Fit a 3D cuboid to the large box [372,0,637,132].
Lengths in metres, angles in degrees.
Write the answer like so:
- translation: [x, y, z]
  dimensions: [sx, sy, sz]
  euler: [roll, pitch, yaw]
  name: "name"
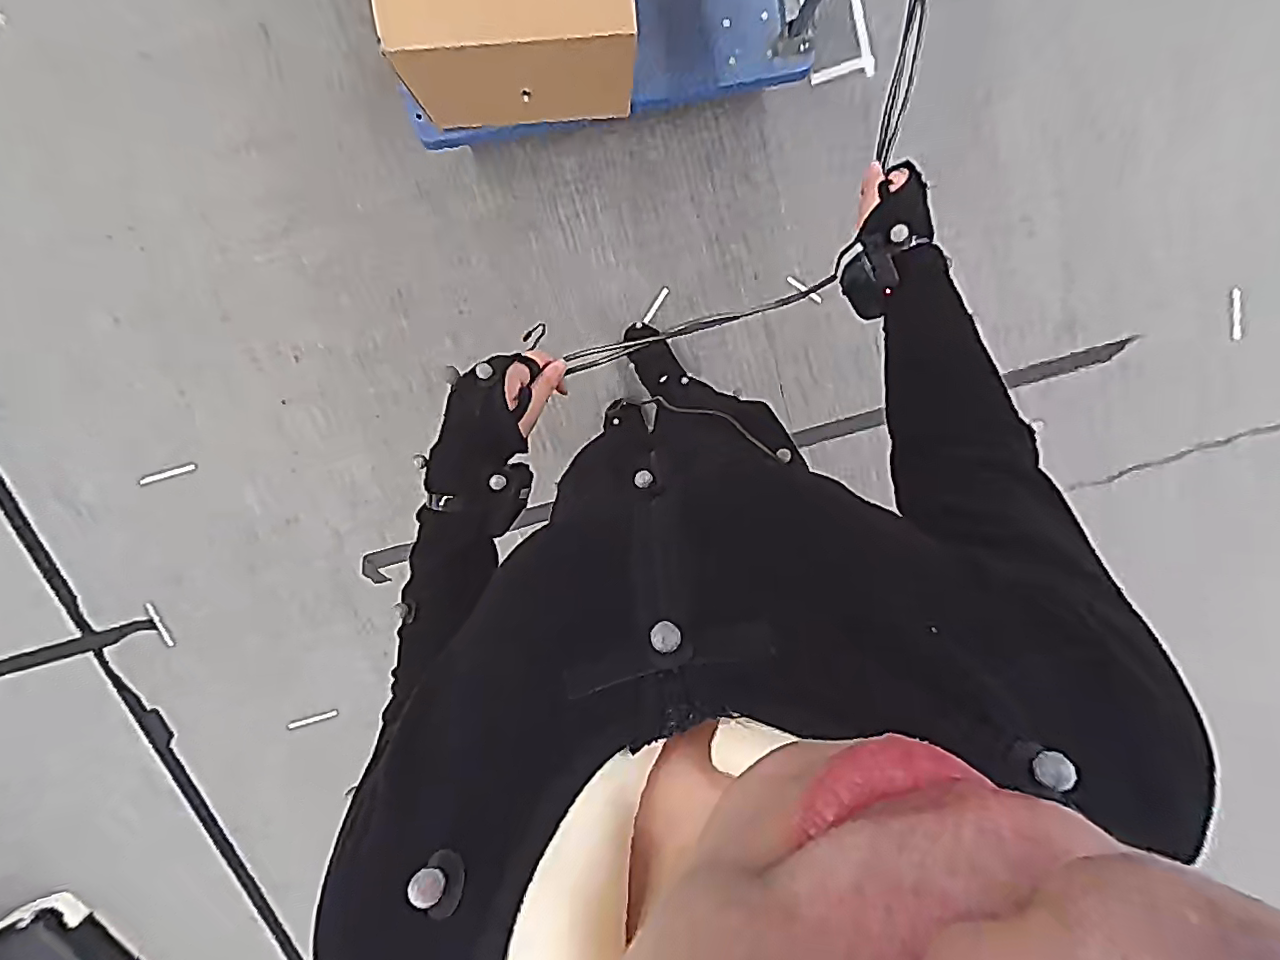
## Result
- translation: [-0.226, -0.855, 0.954]
  dimensions: [0.408, 0.320, 0.320]
  euler: [-6, 103, -2]
  name: "large box"
